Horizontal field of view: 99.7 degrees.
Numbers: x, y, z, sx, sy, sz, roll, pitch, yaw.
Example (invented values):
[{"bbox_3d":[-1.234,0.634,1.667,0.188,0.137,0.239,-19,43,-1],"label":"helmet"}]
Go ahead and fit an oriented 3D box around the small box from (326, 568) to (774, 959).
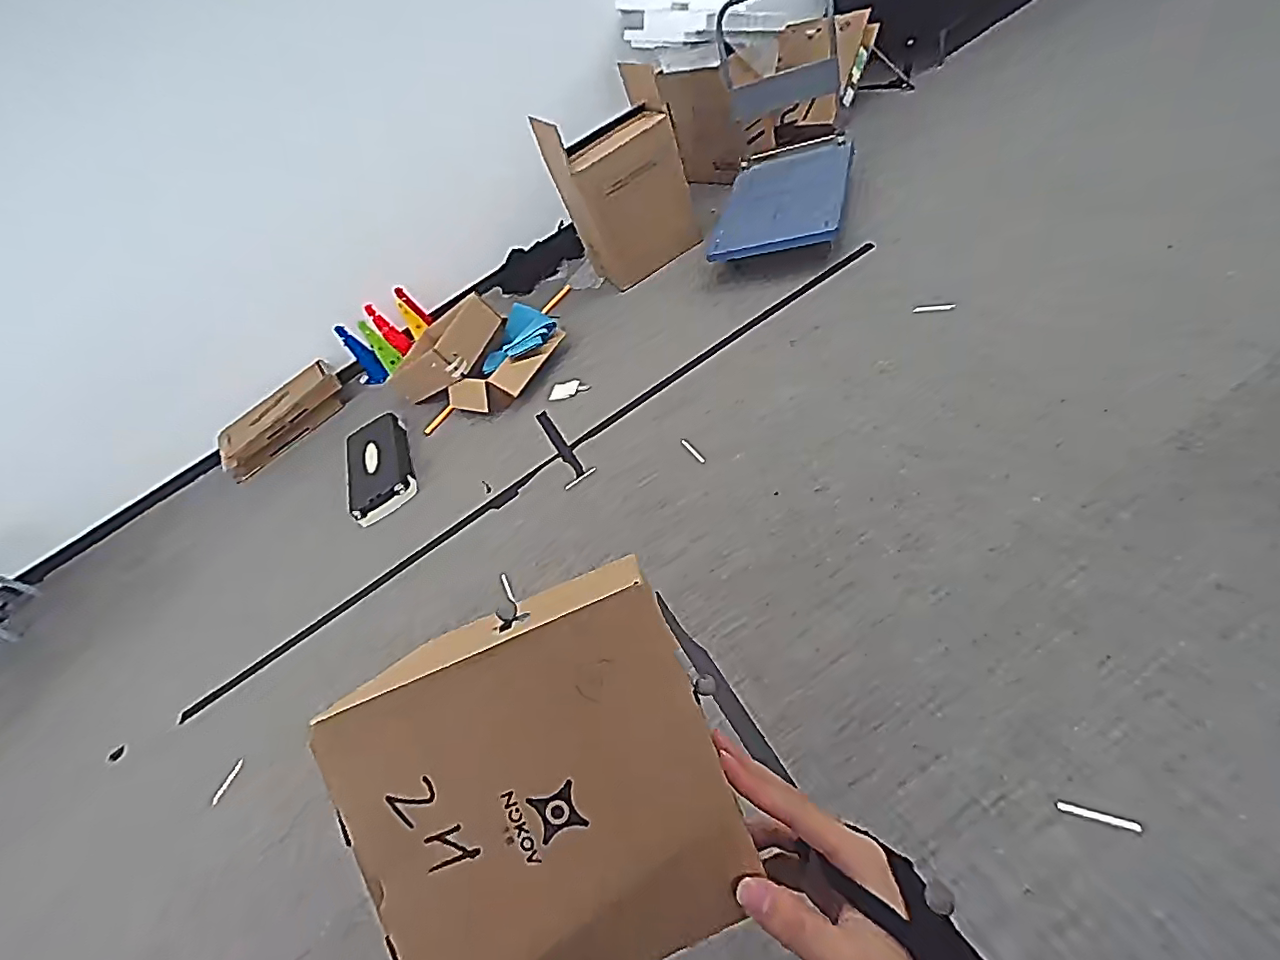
[{"bbox_3d":[-0.045,0.165,0.341,0.179,0.176,0.168,-23,87,-2],"label":"small box"}]
